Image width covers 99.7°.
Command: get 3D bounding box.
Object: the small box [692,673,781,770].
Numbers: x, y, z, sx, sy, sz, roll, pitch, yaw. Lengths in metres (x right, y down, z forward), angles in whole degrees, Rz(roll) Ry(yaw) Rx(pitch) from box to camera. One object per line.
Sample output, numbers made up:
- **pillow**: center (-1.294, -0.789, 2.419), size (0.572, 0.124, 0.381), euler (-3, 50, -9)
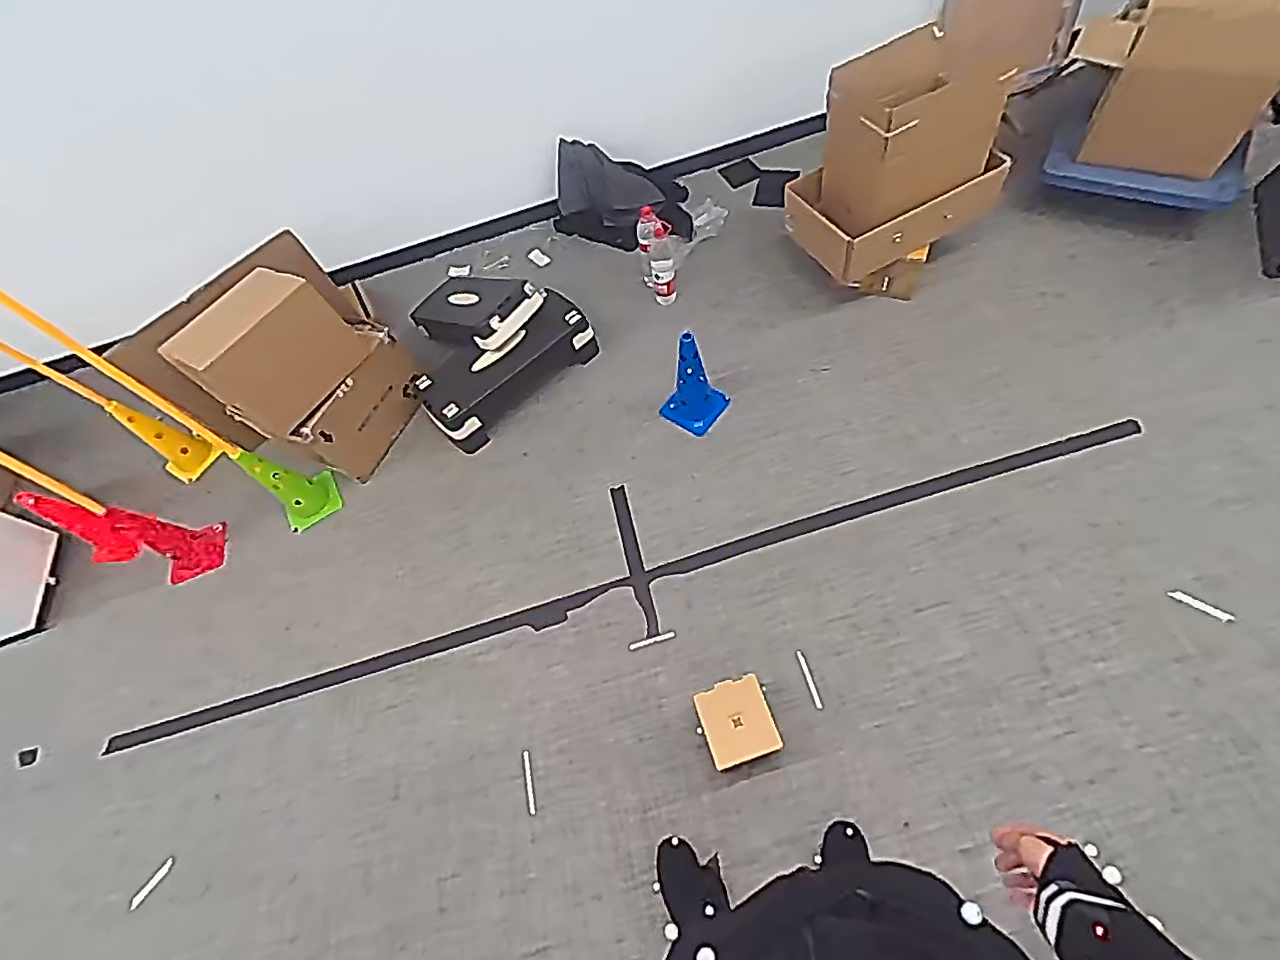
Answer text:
- **small box**: center (0.242, 0.609, 1.359), size (0.168, 0.176, 0.179), euler (-20, 59, -1)
